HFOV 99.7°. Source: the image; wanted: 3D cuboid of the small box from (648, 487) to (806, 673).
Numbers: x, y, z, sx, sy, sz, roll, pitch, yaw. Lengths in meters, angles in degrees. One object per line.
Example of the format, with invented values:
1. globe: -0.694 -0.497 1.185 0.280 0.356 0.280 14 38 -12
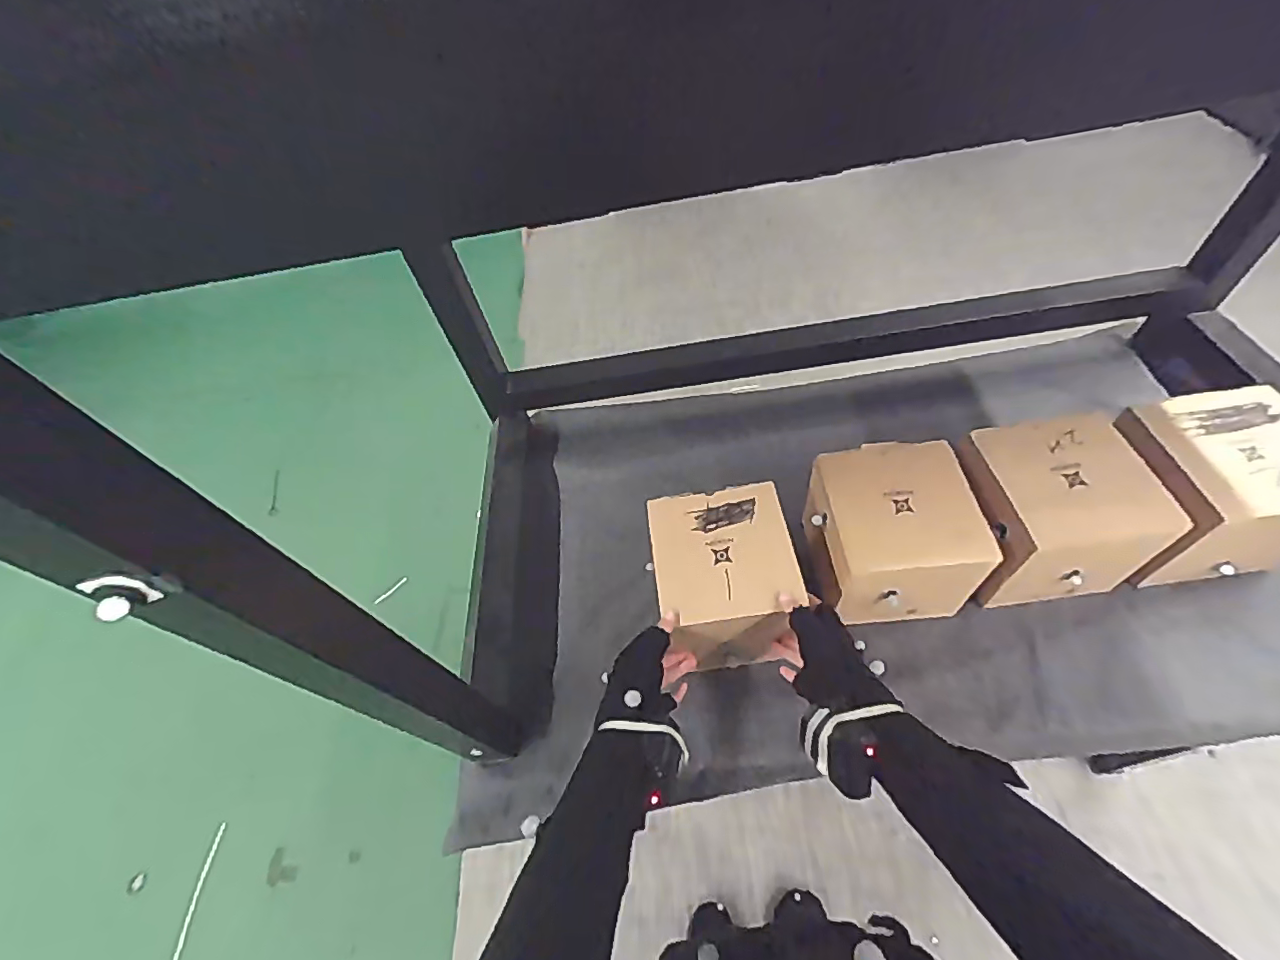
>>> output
1. small box: 0.107 0.136 0.716 0.168 0.176 0.179 -9 54 3
